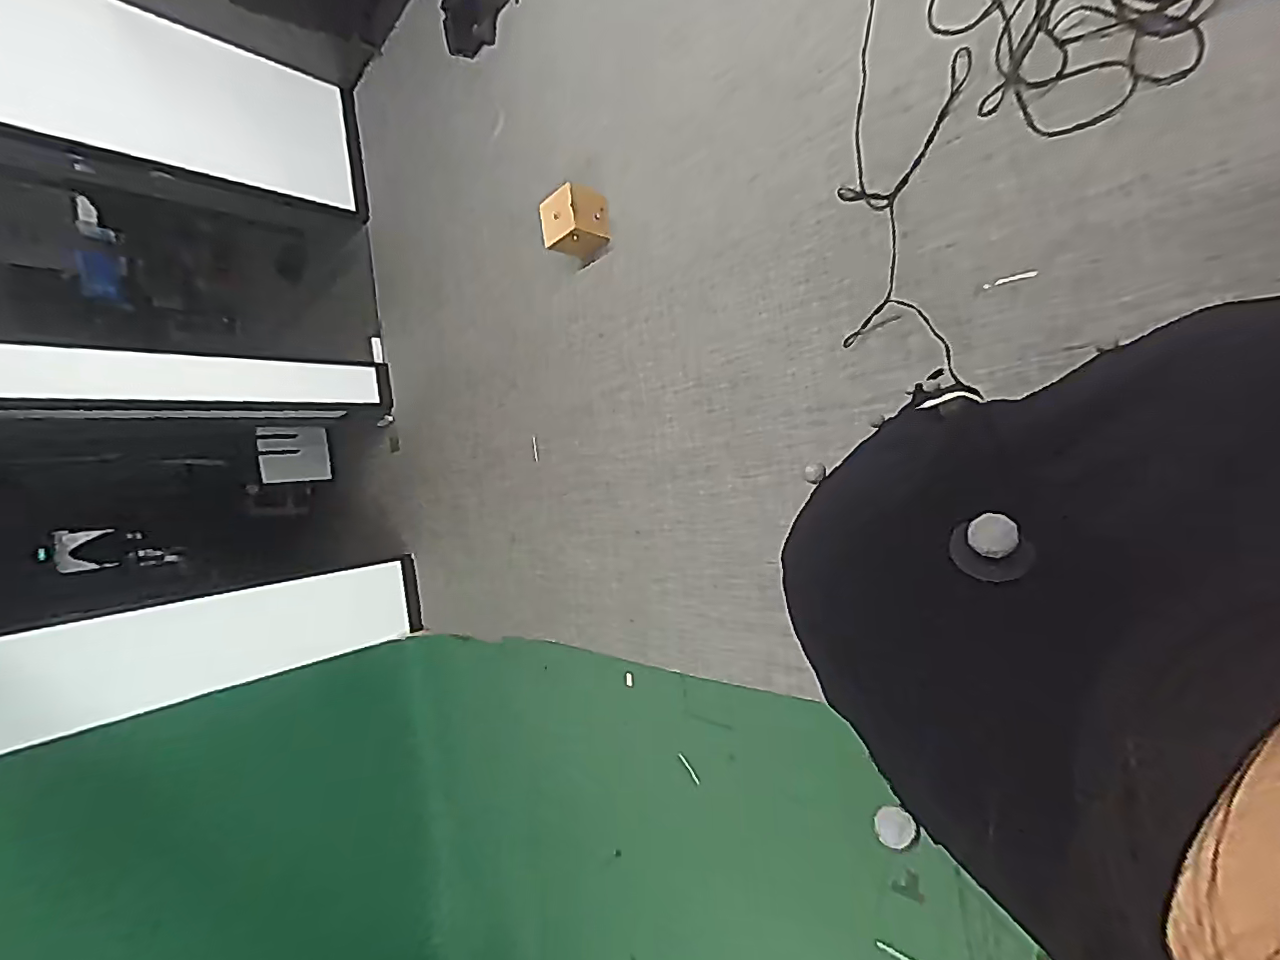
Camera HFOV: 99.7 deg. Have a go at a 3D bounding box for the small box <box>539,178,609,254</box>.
[{"bbox_3d":[-0.236,-0.936,1.936,0.179,0.176,0.168,-10,87,44],"label":"small box"}]
